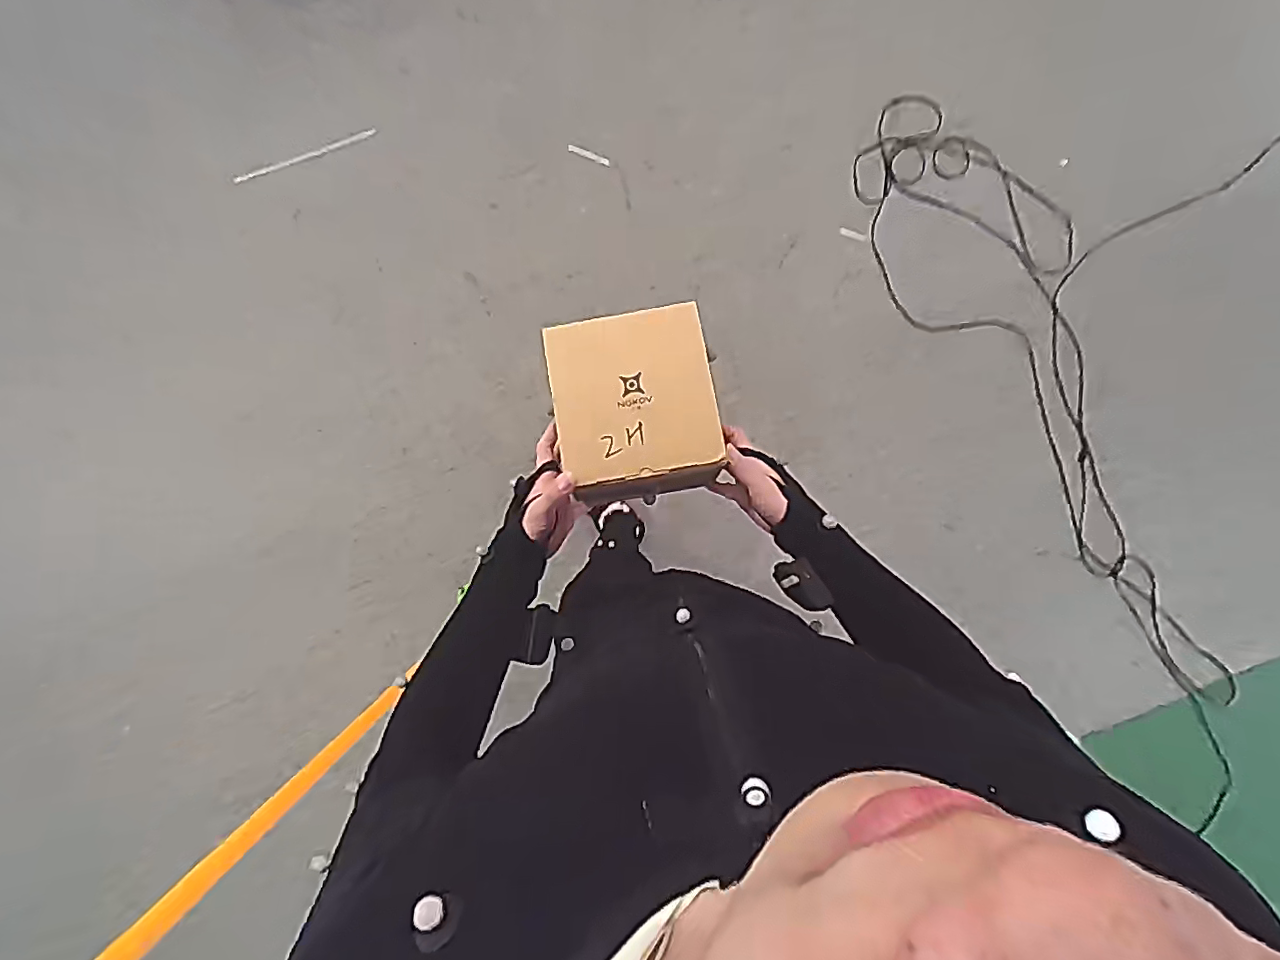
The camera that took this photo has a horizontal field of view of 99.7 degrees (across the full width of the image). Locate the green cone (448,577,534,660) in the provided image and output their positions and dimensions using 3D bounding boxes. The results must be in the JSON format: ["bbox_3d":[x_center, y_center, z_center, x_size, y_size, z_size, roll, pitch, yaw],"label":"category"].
[{"bbox_3d":[-0.421,0.385,1.393,0.202,0.368,0.200,-19,86,-3],"label":"green cone"}]
